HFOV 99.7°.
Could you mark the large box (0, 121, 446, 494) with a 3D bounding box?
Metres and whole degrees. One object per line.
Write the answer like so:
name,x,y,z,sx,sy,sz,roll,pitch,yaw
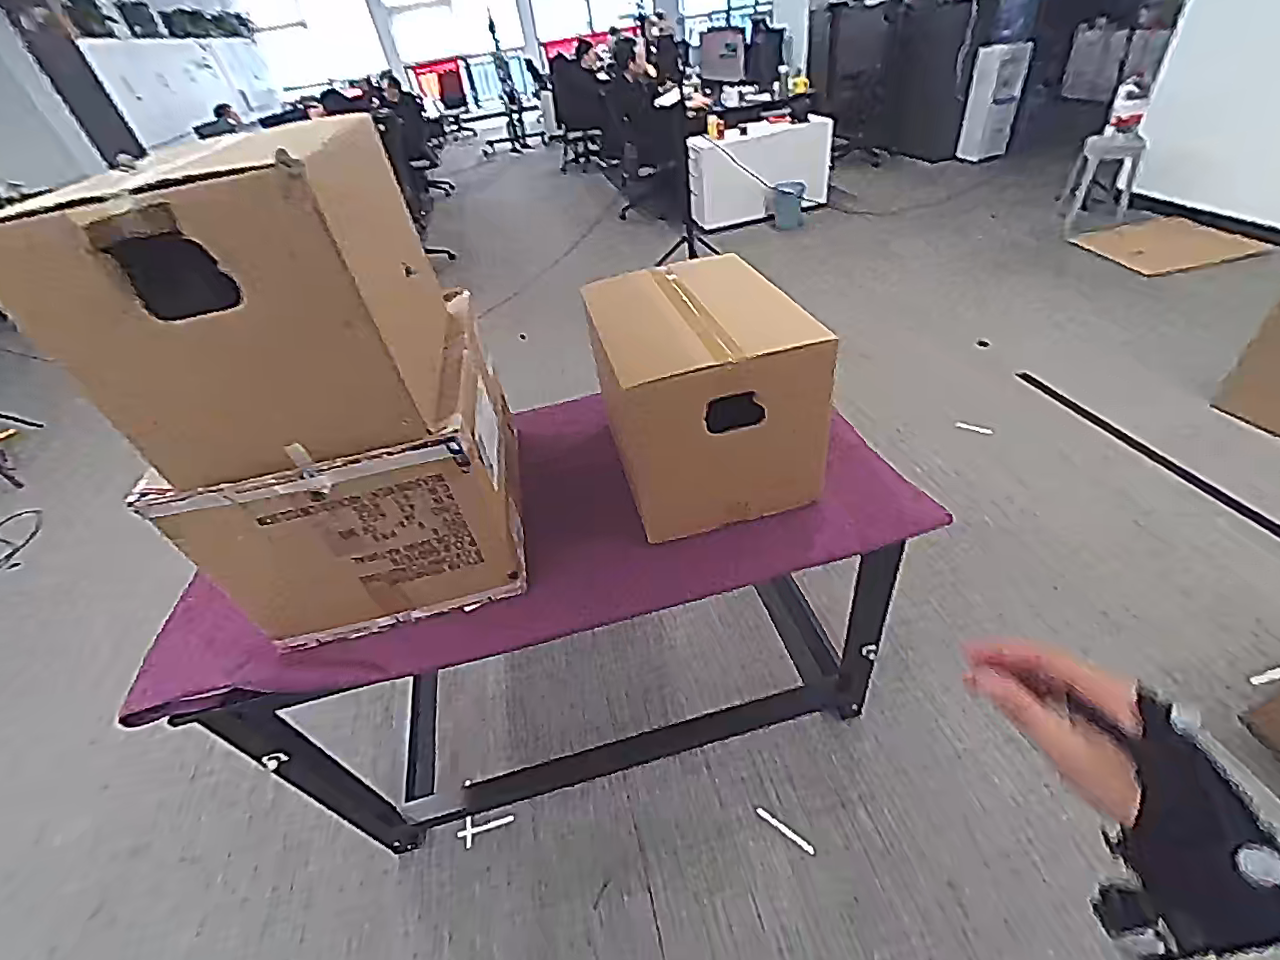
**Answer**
large box,-0.466,-0.250,0.722,0.320,0.320,0.408,-16,41,-4
